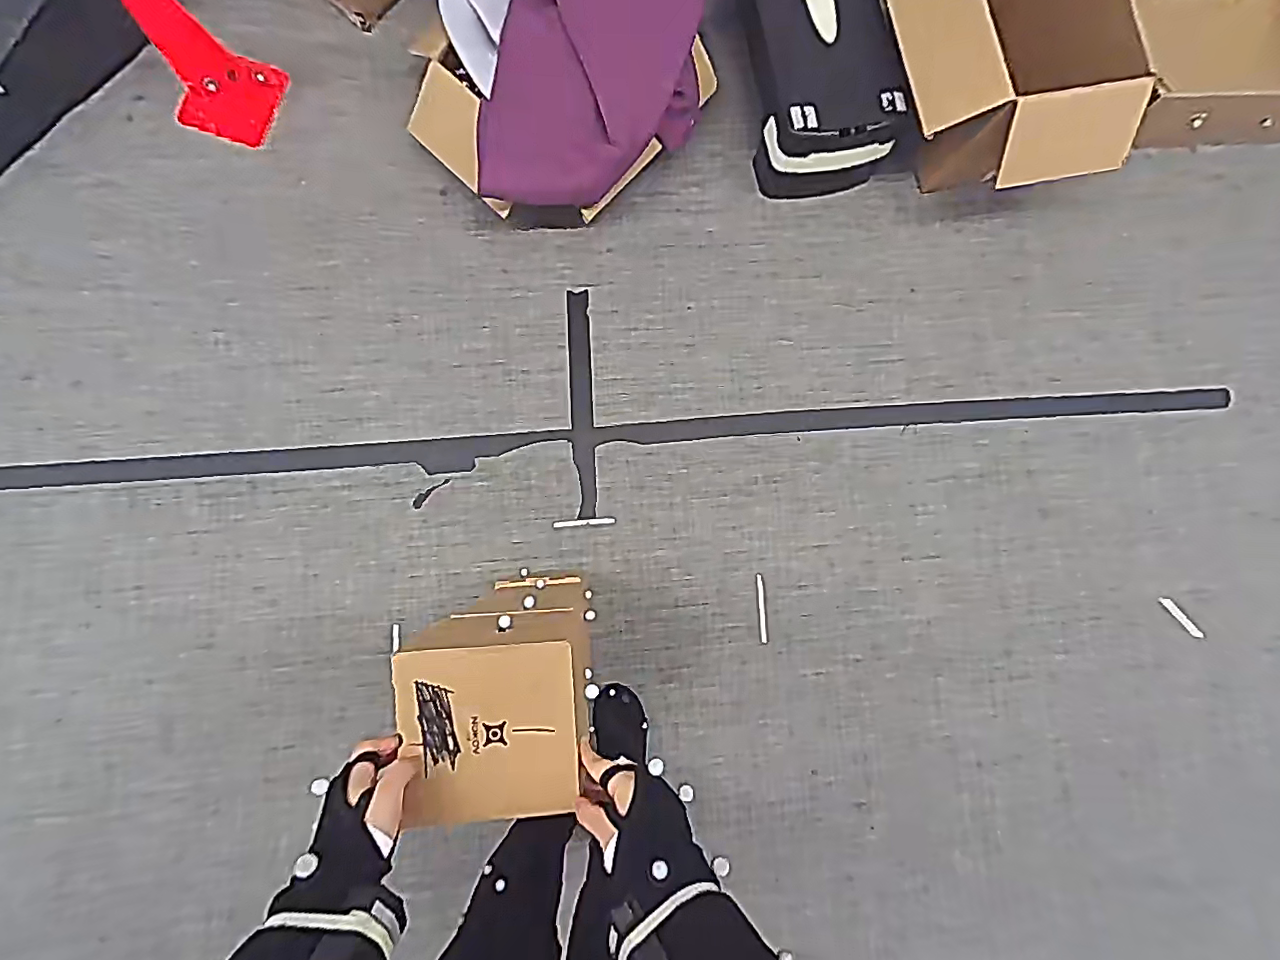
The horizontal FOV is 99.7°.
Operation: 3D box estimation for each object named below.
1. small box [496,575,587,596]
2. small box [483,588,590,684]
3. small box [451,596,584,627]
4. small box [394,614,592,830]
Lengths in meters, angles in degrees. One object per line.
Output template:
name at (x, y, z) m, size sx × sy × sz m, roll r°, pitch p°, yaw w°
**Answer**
small box at (-0.193, 0.288, 1.099) m, size 0.168 × 0.176 × 0.179 m, roll -4°, pitch 86°, yaw -3°
small box at (-0.173, 0.281, 0.935) m, size 0.168 × 0.176 × 0.179 m, roll -3°, pitch 85°, yaw -3°
small box at (-0.163, 0.268, 0.772) m, size 0.168 × 0.176 × 0.179 m, roll -3°, pitch 86°, yaw -4°
small box at (-0.148, 0.249, 0.597) m, size 0.179 × 0.176 × 0.168 m, roll -4°, pitch 88°, yaw -3°
